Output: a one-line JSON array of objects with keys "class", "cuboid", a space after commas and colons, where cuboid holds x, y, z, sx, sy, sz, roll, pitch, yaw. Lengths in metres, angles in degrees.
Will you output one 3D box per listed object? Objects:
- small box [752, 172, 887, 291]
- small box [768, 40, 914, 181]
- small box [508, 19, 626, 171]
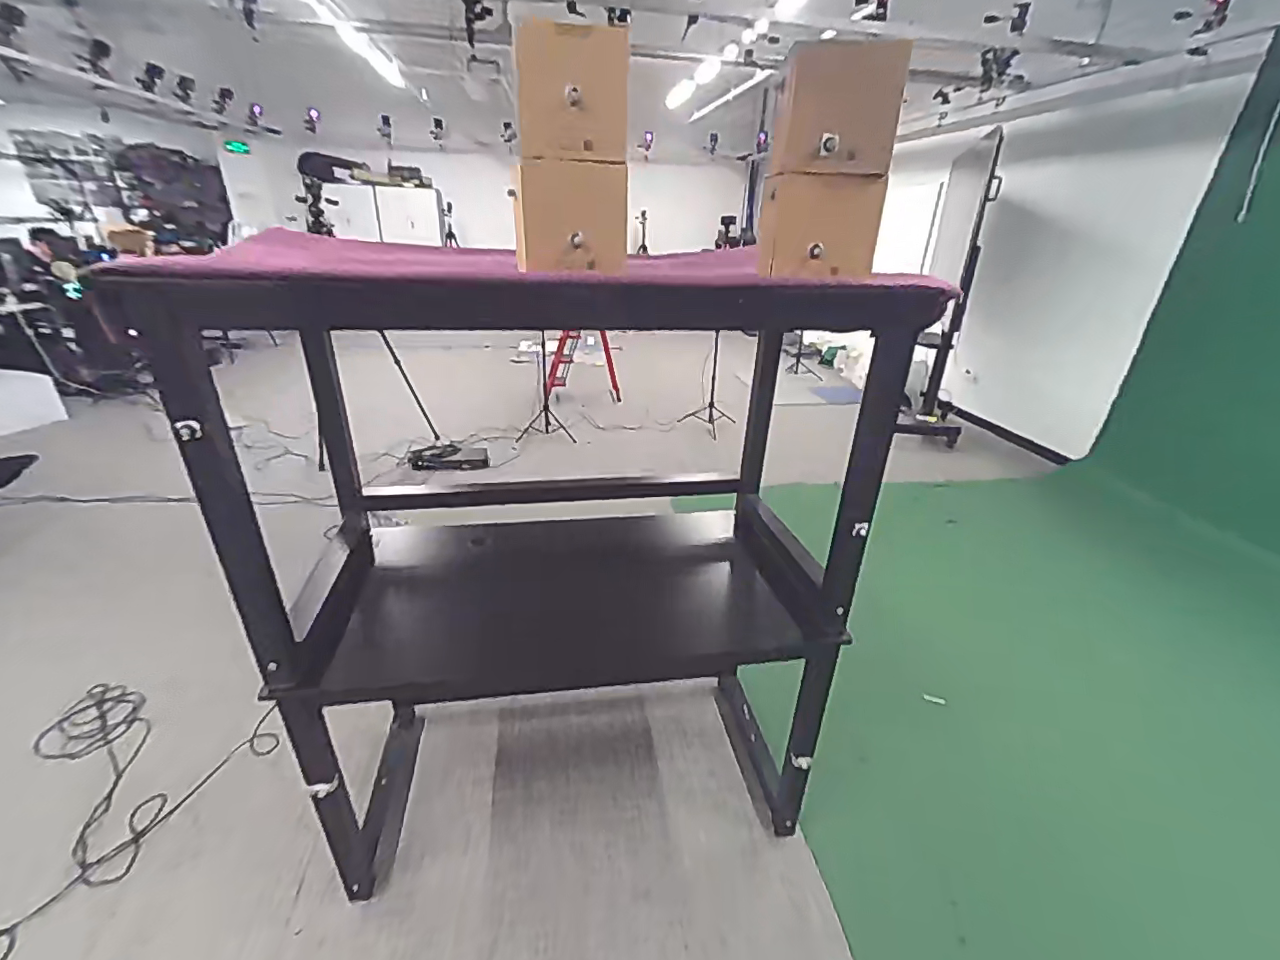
[{"class": "small box", "cuboid": [0.296, -0.429, 0.936, 0.168, 0.176, 0.179, 2, 27, 0]}, {"class": "small box", "cuboid": [0.302, -0.571, 0.857, 0.168, 0.176, 0.179, 2, 28, 4]}, {"class": "small box", "cuboid": [-0.114, -0.585, 0.846, 0.168, 0.176, 0.179, -3, 26, -11]}]
